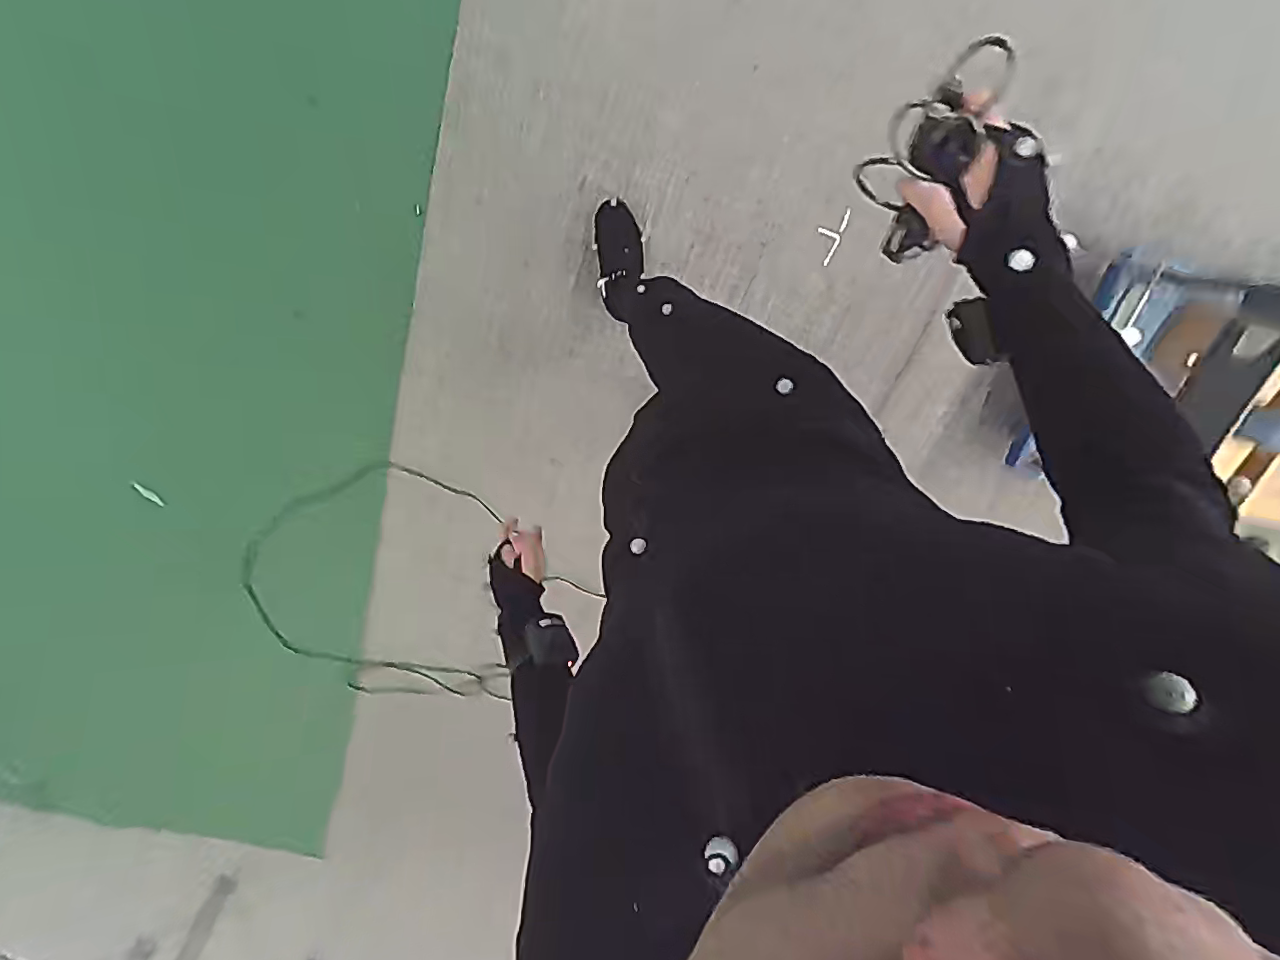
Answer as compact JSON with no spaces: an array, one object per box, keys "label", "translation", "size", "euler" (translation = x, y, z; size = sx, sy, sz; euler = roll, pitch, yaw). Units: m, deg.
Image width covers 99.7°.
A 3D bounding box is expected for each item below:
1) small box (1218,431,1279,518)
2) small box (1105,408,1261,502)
[{"label":"small box","translation":[1.588,-0.015,1.381],"size":[0.179,0.176,0.168],"euler":[9,114,-4]},{"label":"small box","translation":[1.345,-0.068,1.355],"size":[0.179,0.176,0.168],"euler":[13,114,-6]}]
